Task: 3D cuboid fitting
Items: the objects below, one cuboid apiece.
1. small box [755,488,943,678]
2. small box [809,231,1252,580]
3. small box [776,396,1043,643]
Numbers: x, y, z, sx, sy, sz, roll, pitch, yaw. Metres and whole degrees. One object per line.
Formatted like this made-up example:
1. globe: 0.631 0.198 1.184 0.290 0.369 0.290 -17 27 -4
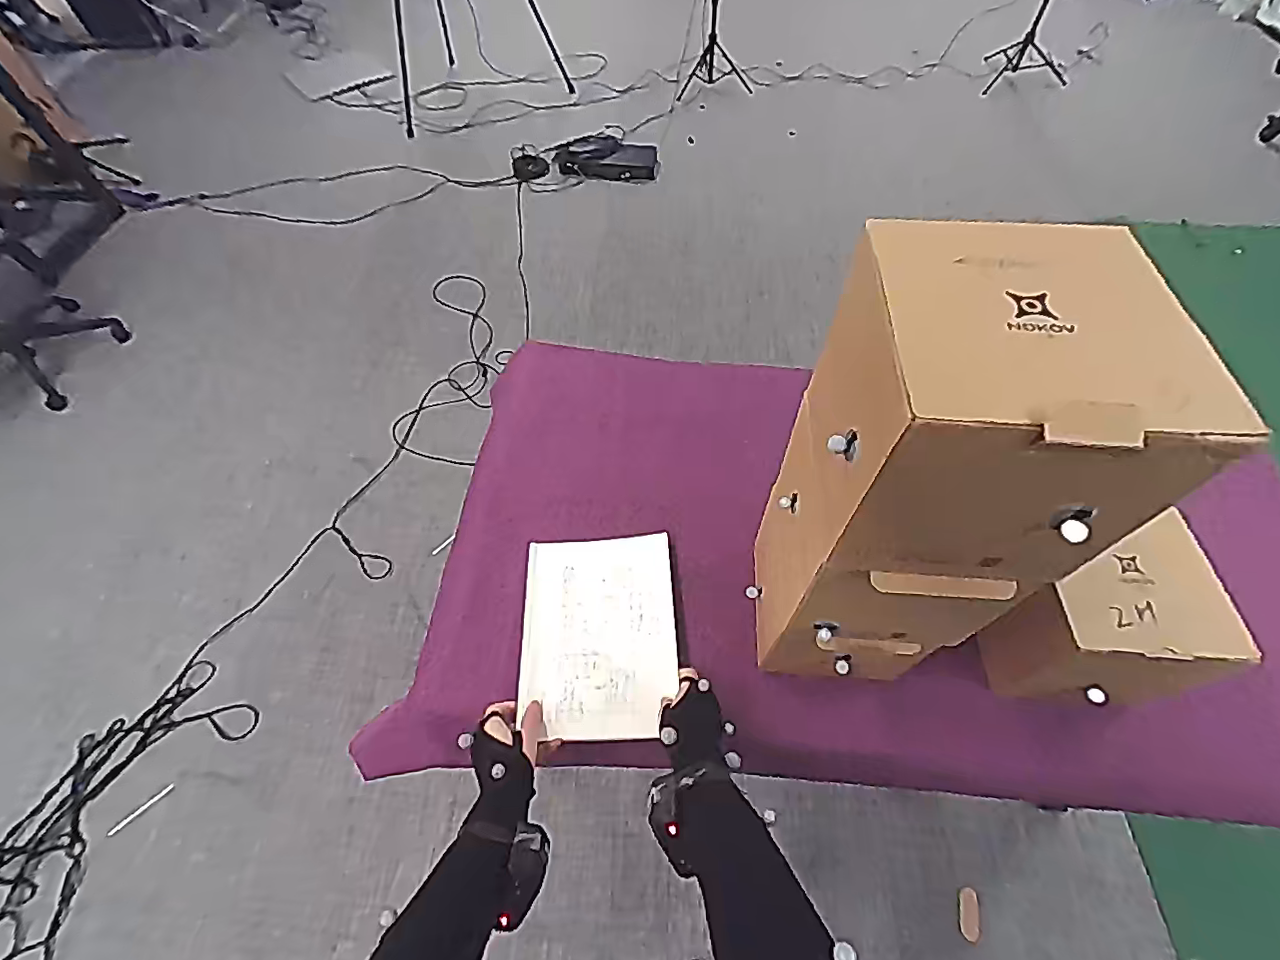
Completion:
1. small box: 0.234 0.130 0.653 0.168 0.176 0.179 3 57 4
2. small box: 0.222 -0.045 0.375 0.168 0.176 0.179 4 56 4
3. small box: 0.228 0.043 0.513 0.168 0.176 0.179 3 55 5
